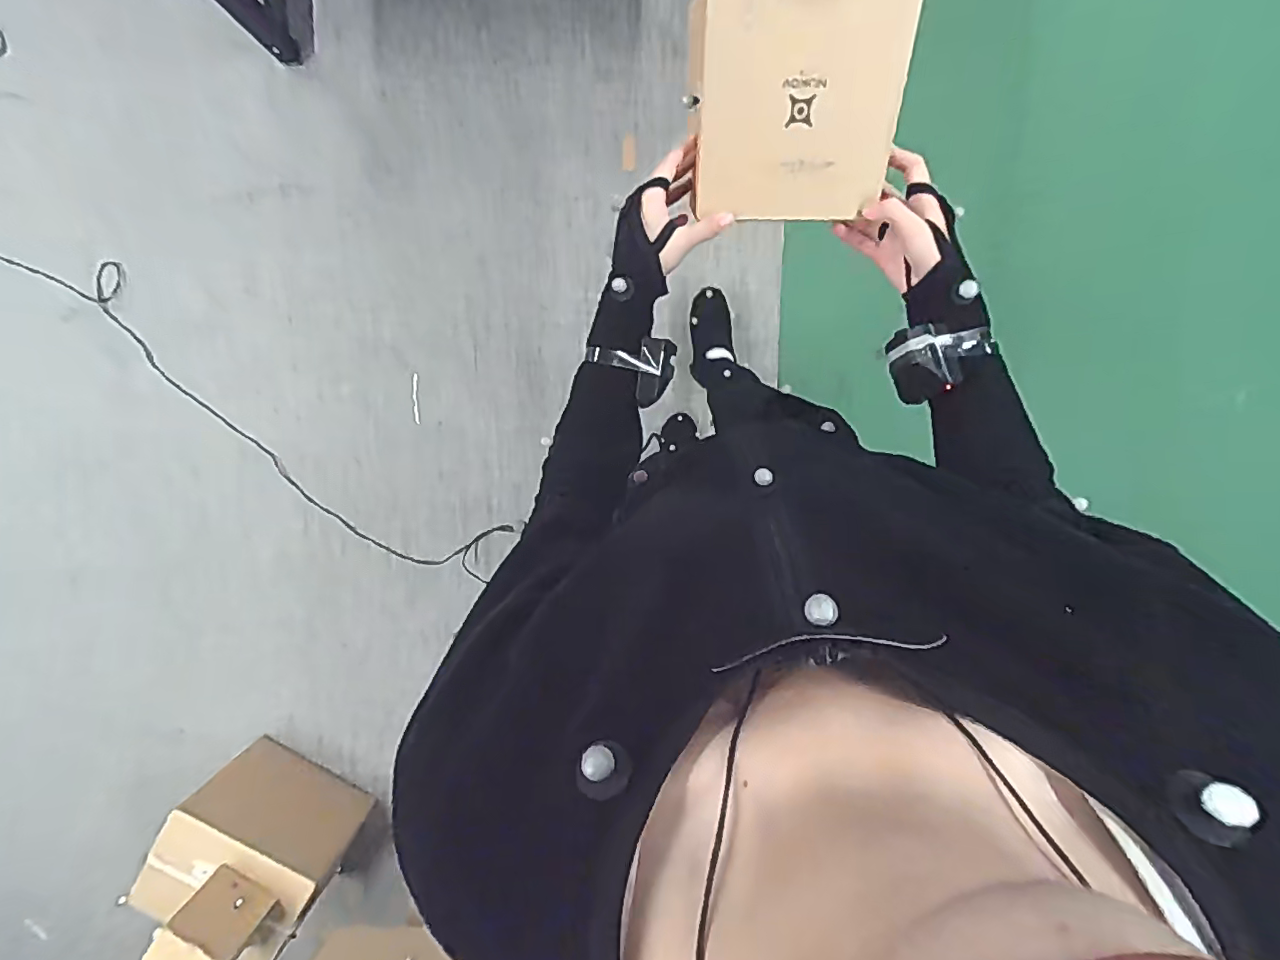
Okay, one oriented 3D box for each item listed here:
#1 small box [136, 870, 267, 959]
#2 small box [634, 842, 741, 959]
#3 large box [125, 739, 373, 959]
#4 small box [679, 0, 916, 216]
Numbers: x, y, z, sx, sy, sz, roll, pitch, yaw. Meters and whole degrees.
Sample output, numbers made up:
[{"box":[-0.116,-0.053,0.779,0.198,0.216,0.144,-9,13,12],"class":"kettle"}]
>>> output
[{"box":[-1.023,1.074,1.258,0.168,0.176,0.179,35,97,-3],"class":"small box"},{"box":[0.103,0.979,1.222,0.168,0.176,0.179,-36,95,5],"class":"small box"},{"box":[-1.050,1.015,1.497,0.408,0.320,0.320,31,96,-1],"class":"large box"},{"box":[0.124,-0.354,0.504,0.168,0.176,0.179,0,124,0],"class":"small box"}]
